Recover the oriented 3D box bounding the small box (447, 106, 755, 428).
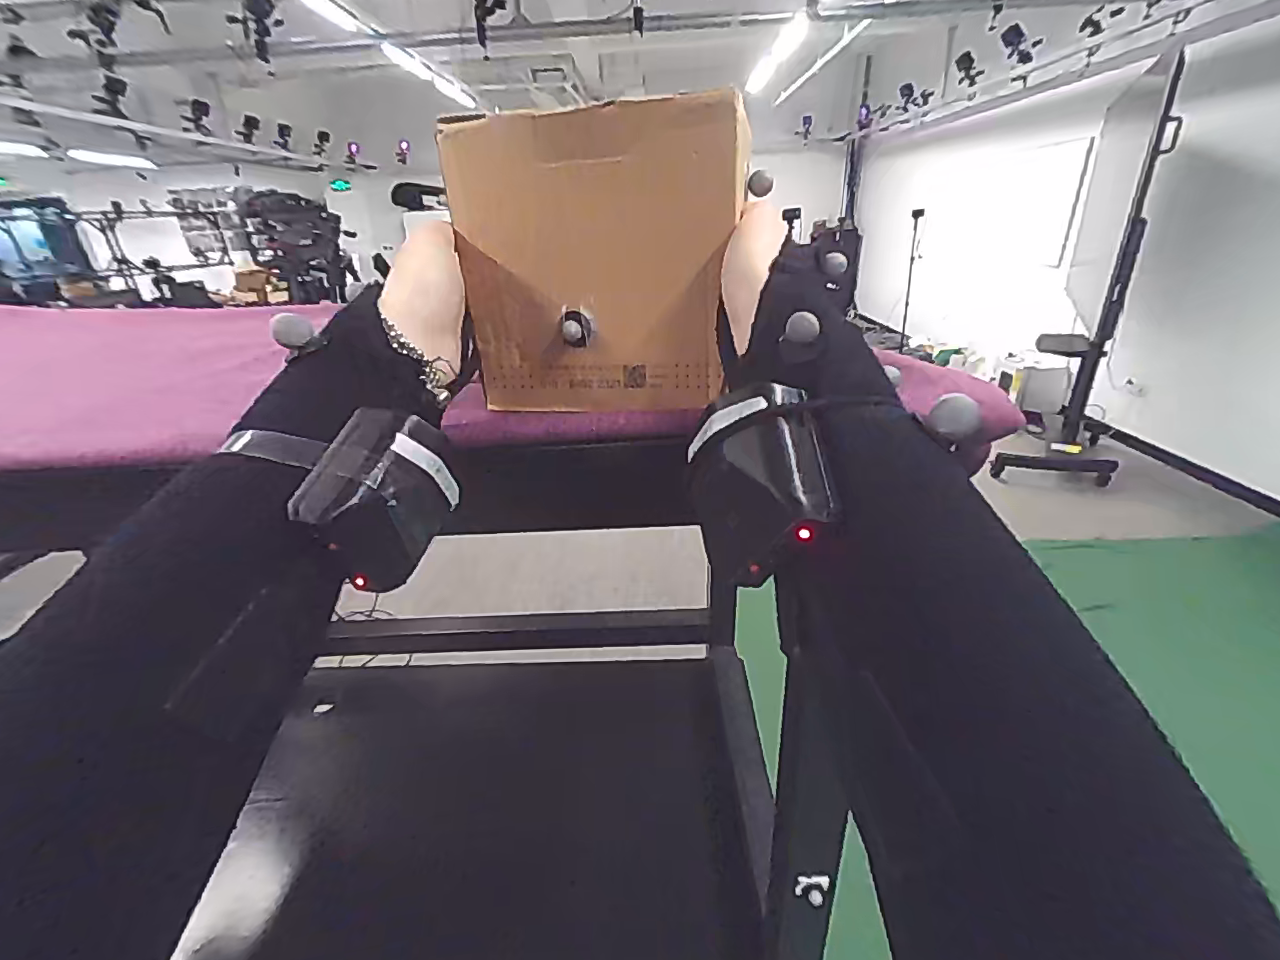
[{"bbox_3d":[-0.007,-0.146,0.384,0.168,0.176,0.179,2,27,11],"label":"small box"}]
